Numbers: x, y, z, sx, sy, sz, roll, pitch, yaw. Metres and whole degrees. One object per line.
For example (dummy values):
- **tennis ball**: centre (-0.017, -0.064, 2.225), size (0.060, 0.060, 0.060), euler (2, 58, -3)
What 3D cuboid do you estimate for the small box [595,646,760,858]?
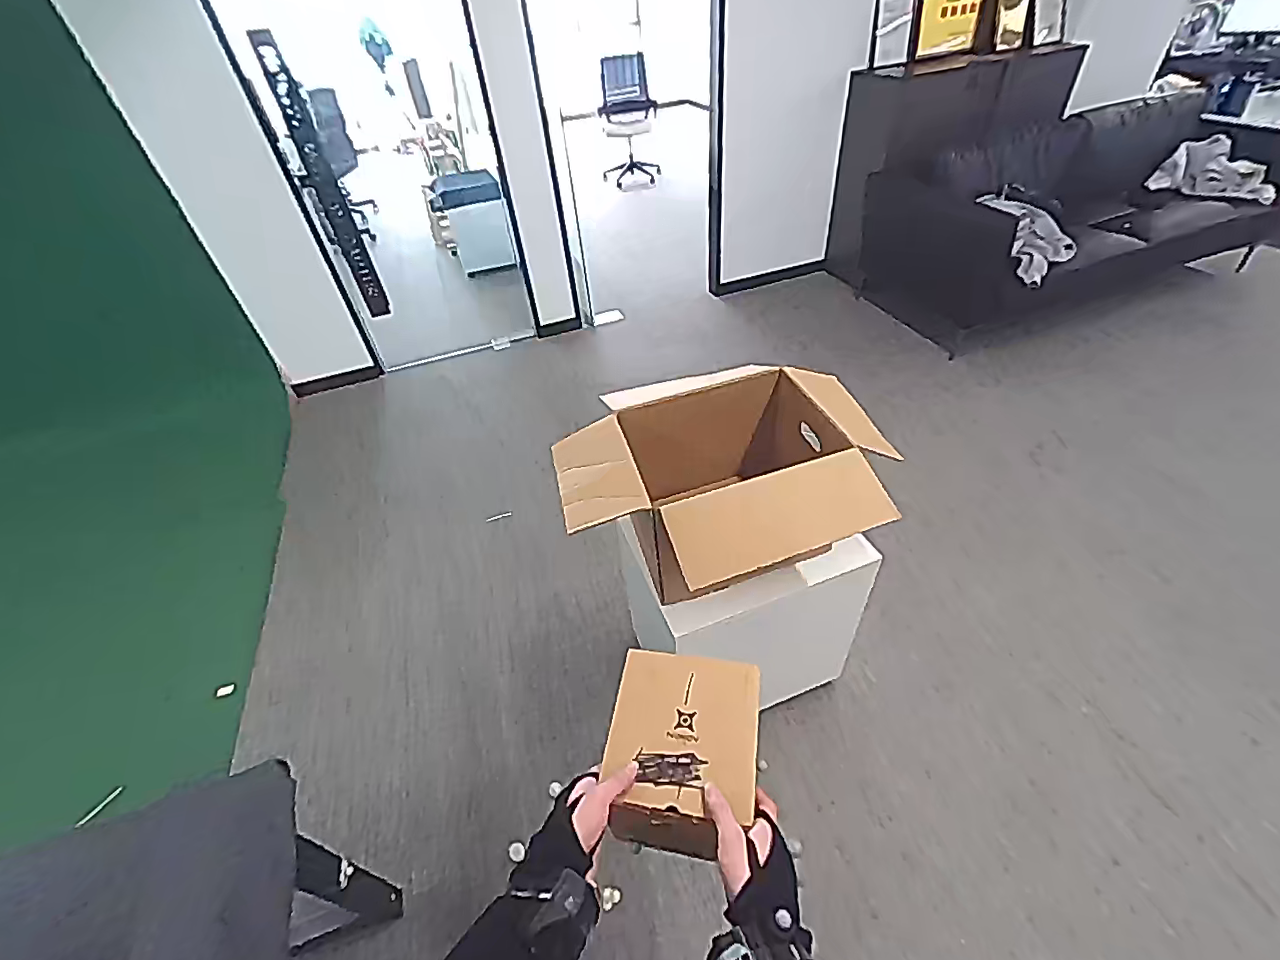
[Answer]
- **small box**: centre (0.056, 0.334, 0.665), size (0.168, 0.176, 0.179), euler (5, 44, 12)
